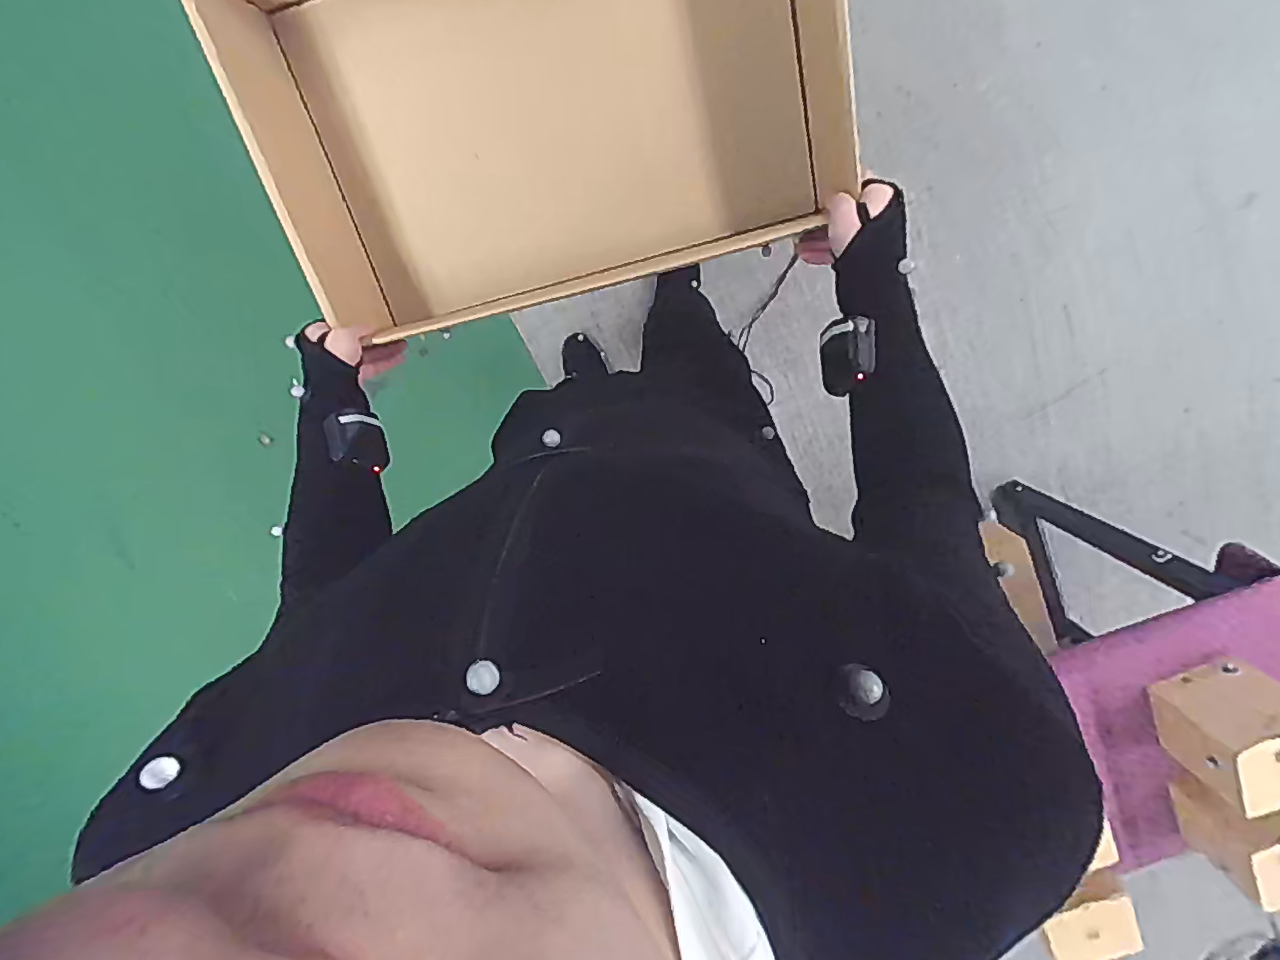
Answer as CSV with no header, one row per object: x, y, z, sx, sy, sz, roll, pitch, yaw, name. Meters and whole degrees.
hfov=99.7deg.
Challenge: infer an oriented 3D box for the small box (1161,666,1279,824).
1.110,0.468,0.984,0.168,0.176,0.179,-26,108,8,small box
